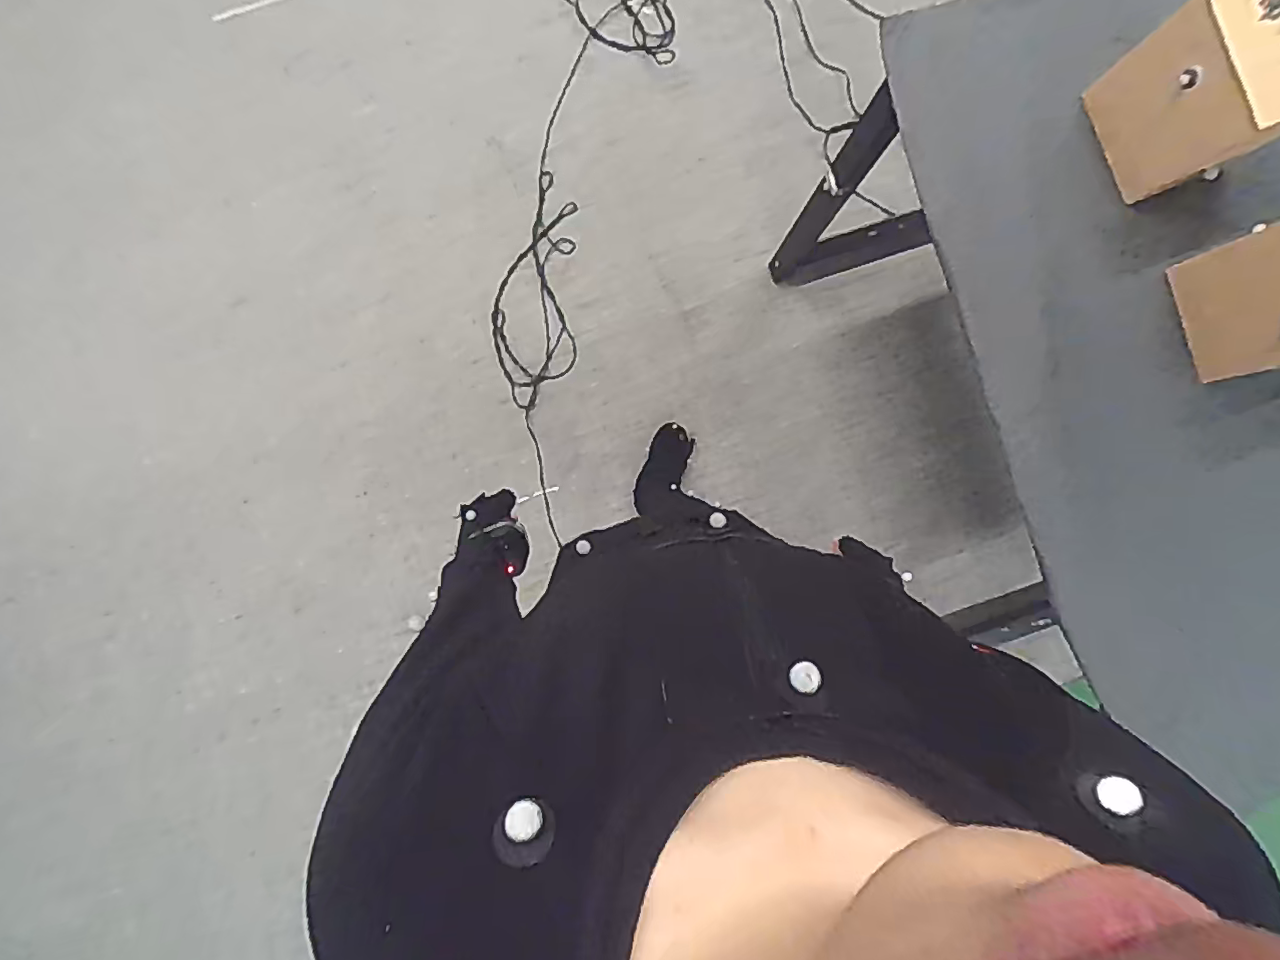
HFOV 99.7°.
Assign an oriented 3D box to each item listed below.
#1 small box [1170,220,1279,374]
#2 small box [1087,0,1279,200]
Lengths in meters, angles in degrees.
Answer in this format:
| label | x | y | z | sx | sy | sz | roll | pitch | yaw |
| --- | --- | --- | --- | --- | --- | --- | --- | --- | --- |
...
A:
| label | x | y | z | sx | sy | sz | roll | pitch | yaw |
| --- | --- | --- | --- | --- | --- | --- | --- | --- | --- |
| small box | 0.859 | -0.246 | 0.697 | 0.168 | 0.176 | 0.179 | -16 | 89 | -3 |
| small box | 0.742 | -0.509 | 0.702 | 0.168 | 0.176 | 0.179 | -22 | 90 | -2 |
